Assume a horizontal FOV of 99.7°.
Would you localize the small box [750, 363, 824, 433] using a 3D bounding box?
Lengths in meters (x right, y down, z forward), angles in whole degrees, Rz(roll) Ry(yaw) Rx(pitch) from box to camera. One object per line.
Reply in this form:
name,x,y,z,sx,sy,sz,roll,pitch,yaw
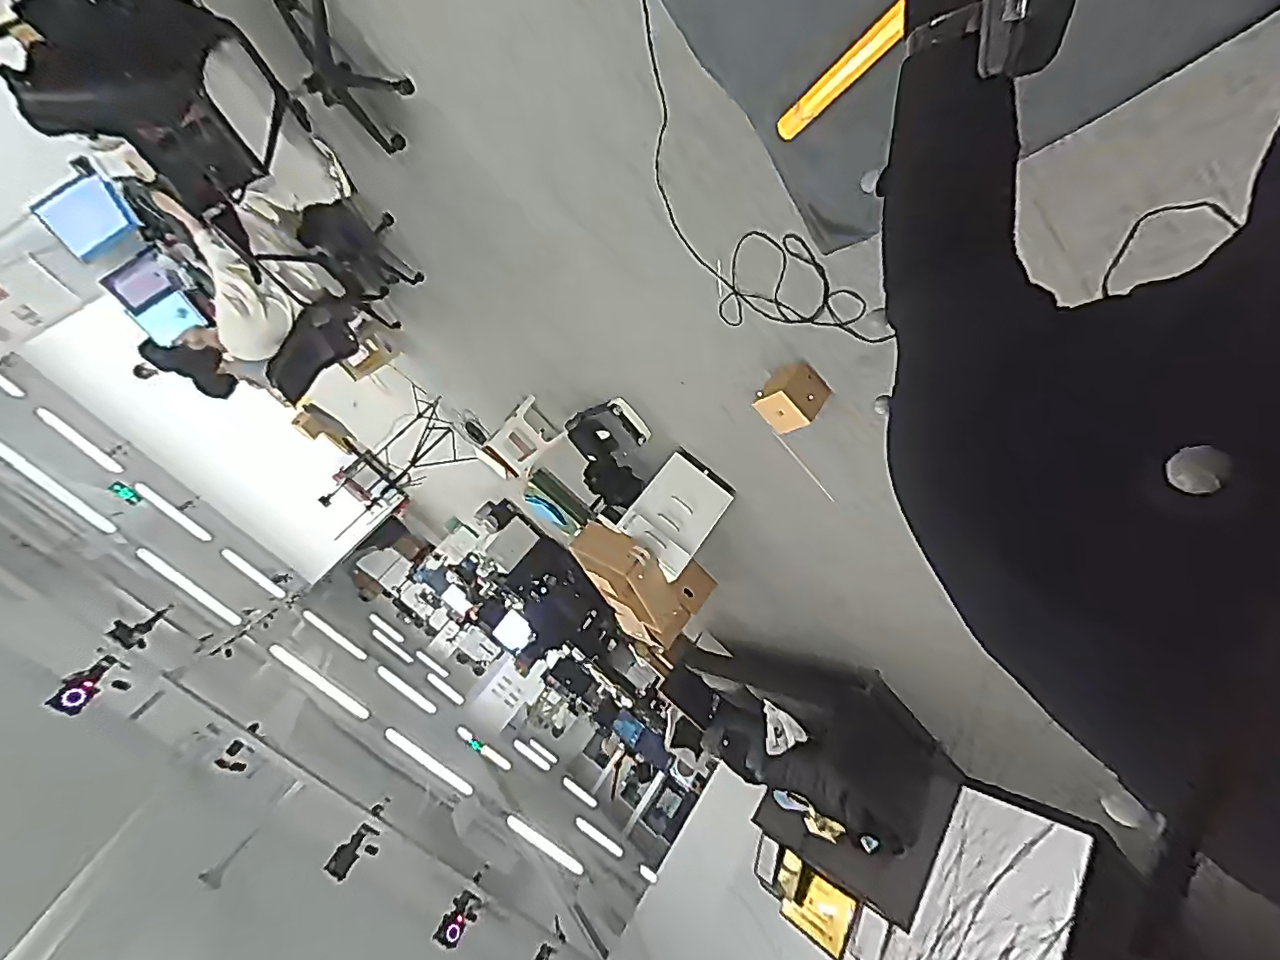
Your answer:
small box,0.546,-0.302,1.981,0.168,0.176,0.179,44,156,-13
